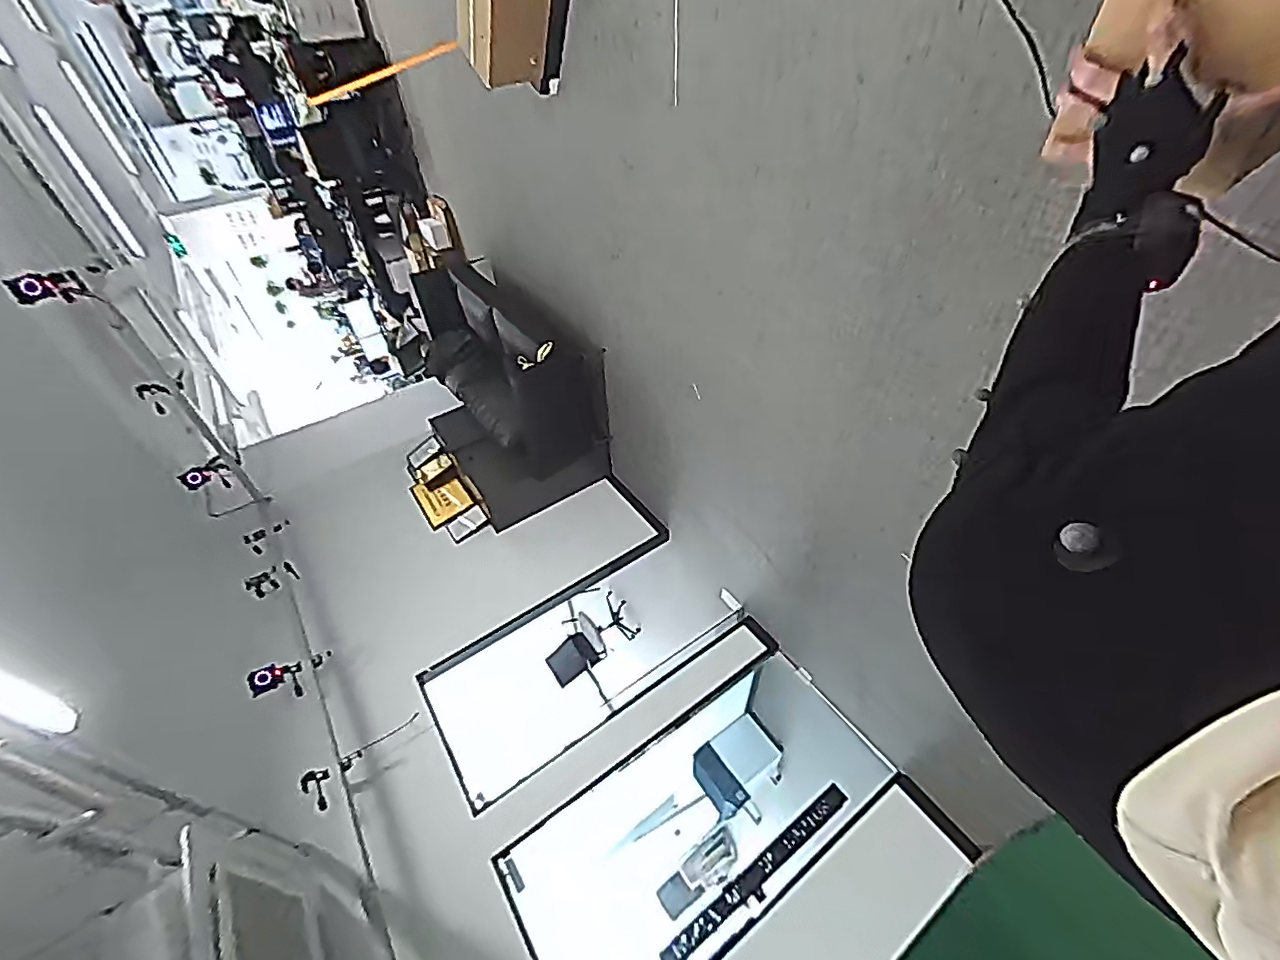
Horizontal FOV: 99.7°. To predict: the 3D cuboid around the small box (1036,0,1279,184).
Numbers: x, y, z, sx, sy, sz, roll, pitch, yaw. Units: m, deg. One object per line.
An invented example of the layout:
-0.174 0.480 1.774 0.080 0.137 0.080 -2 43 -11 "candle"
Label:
0.558 -0.426 0.534 0.179 0.176 0.168 43 156 33 "small box"
